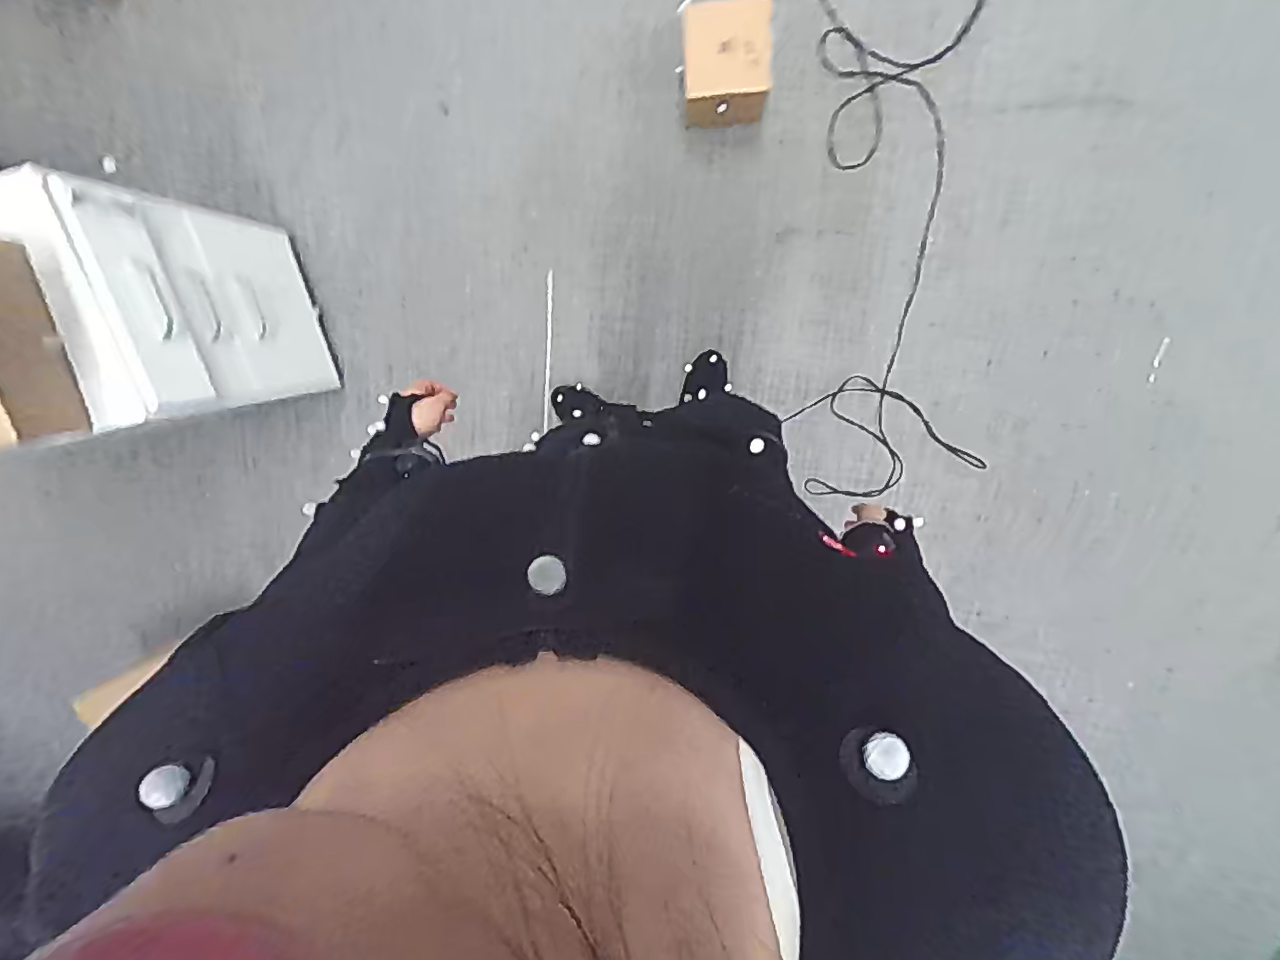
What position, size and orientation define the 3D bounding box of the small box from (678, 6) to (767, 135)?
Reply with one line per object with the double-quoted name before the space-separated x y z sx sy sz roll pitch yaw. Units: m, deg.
"small box" 0.173 -0.869 1.165 0.179 0.176 0.168 -3 105 4
